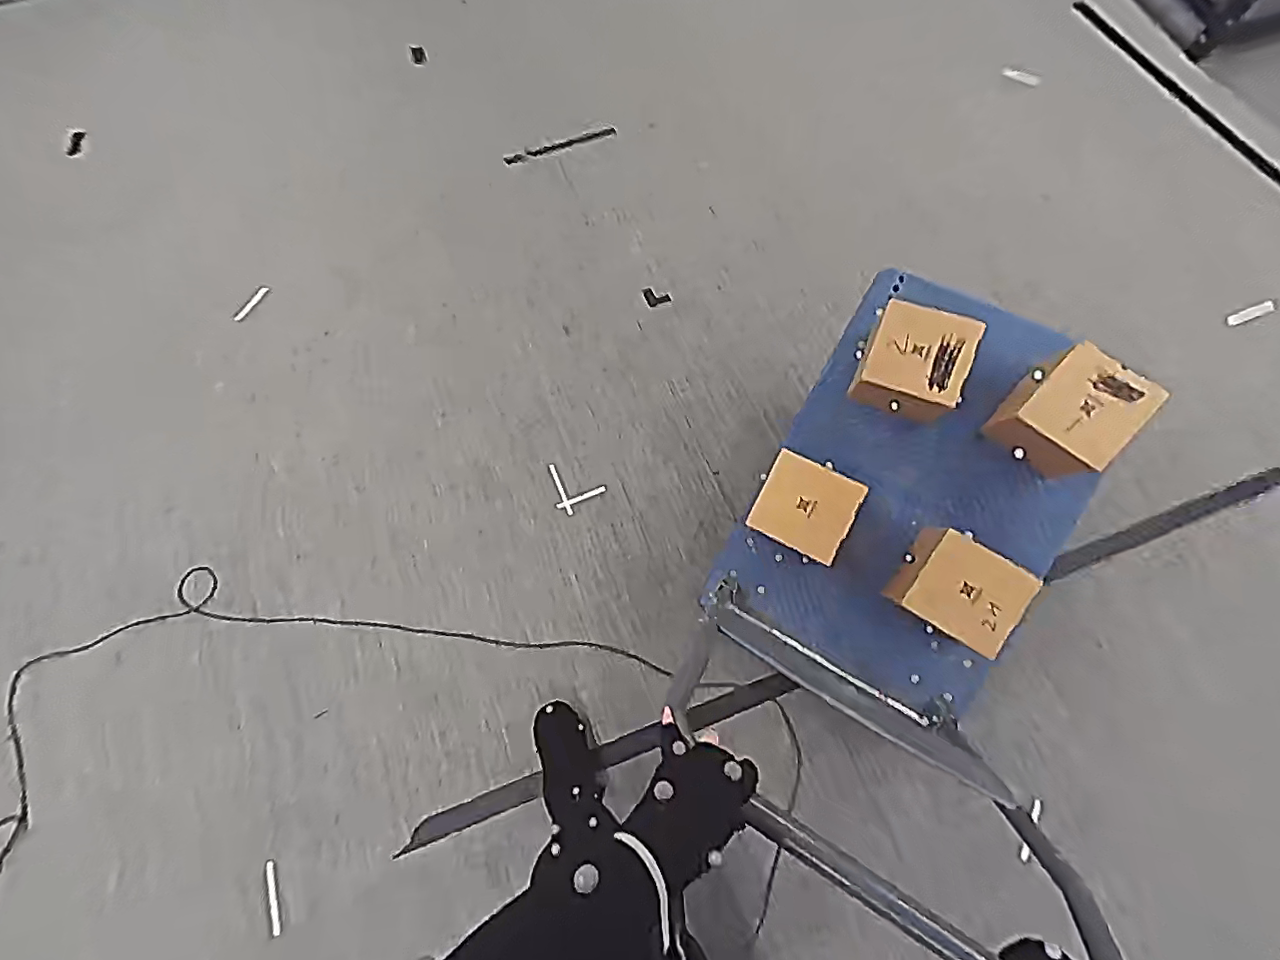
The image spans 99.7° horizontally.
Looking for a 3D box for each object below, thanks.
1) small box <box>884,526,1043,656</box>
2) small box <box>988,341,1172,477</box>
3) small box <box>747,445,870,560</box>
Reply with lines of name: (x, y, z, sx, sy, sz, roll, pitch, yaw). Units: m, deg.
small box: (0.598, 0.203, 1.029, 0.179, 0.176, 0.168, 33, 93, 13)
small box: (0.803, -0.124, 1.013, 0.168, 0.176, 0.179, 41, 95, 12)
small box: (0.330, 0.049, 1.099, 0.179, 0.176, 0.168, 27, 91, 11)
